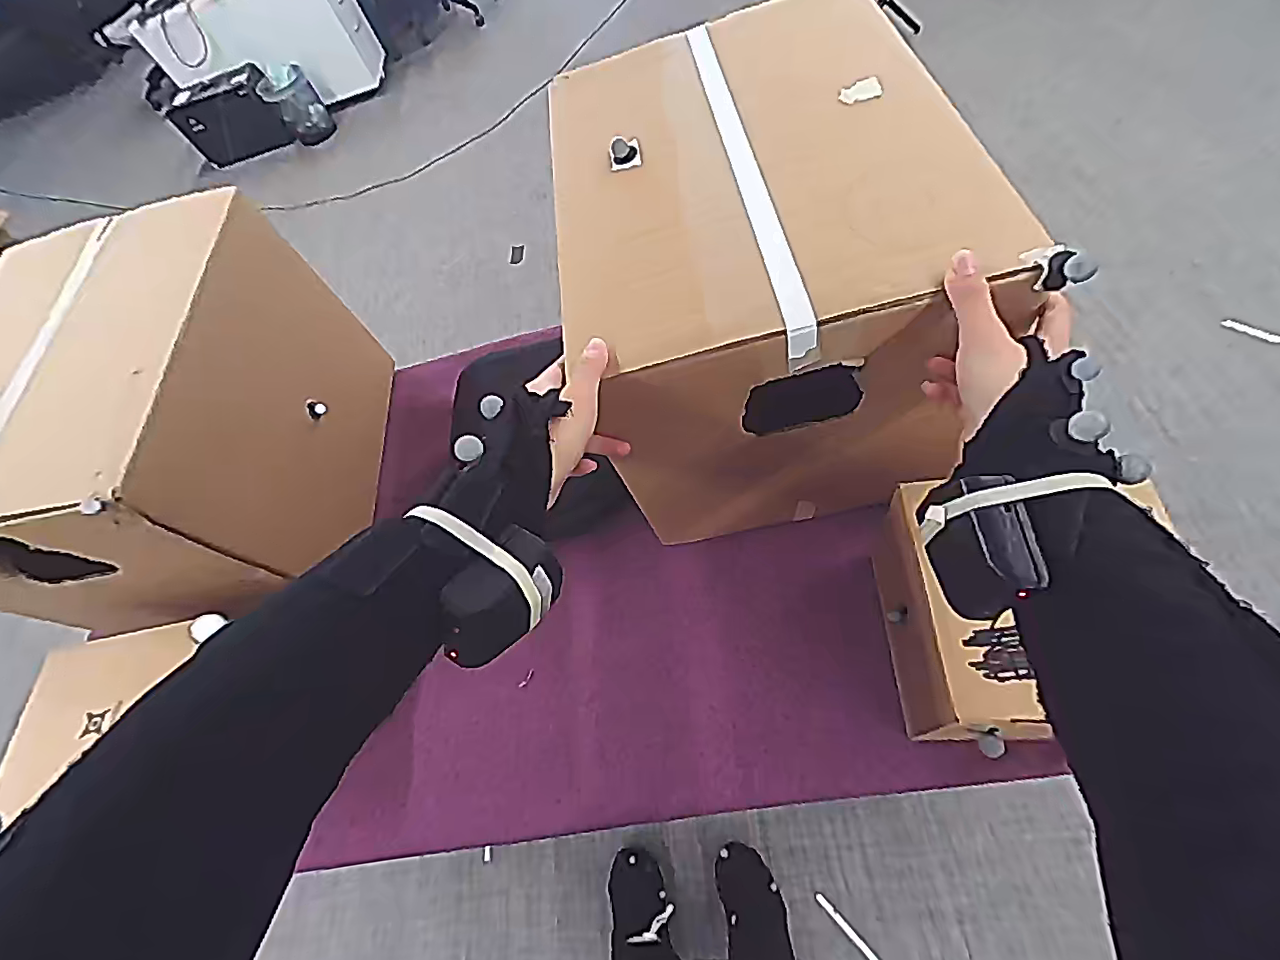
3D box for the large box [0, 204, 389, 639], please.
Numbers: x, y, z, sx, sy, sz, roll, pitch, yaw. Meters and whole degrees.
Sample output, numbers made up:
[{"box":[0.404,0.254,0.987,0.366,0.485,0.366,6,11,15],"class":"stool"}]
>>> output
[{"box":[-0.550,-0.051,0.673,0.320,0.320,0.408,-12,62,7],"class":"large box"}]
